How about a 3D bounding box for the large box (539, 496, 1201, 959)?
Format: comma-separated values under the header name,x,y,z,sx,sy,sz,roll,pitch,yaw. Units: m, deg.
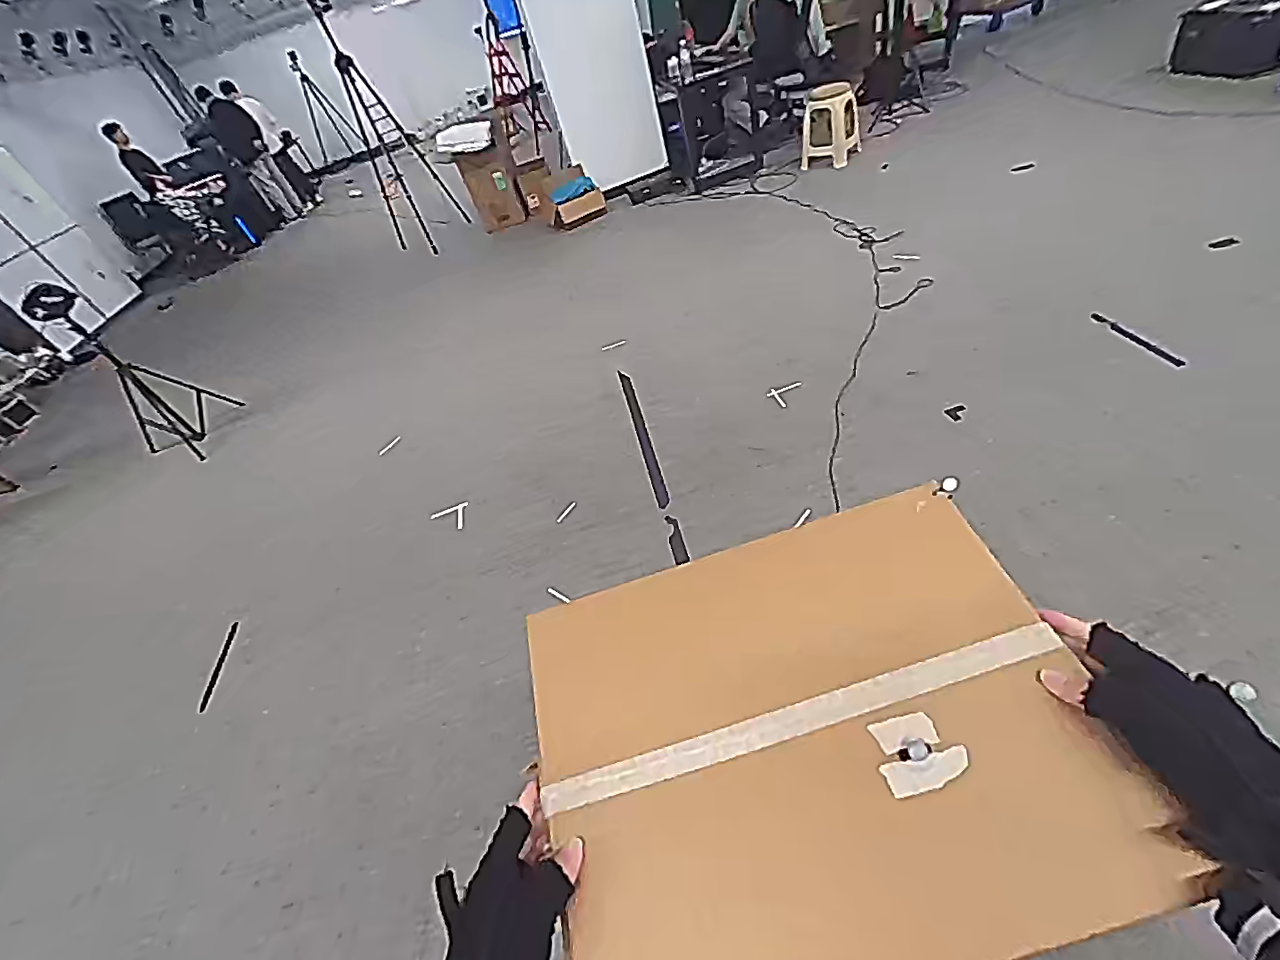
name,x,y,z,sx,sy,sz,roll,pitch,yaw
large box,0.154,0.279,0.541,0.408,0.320,0.320,-18,51,1
